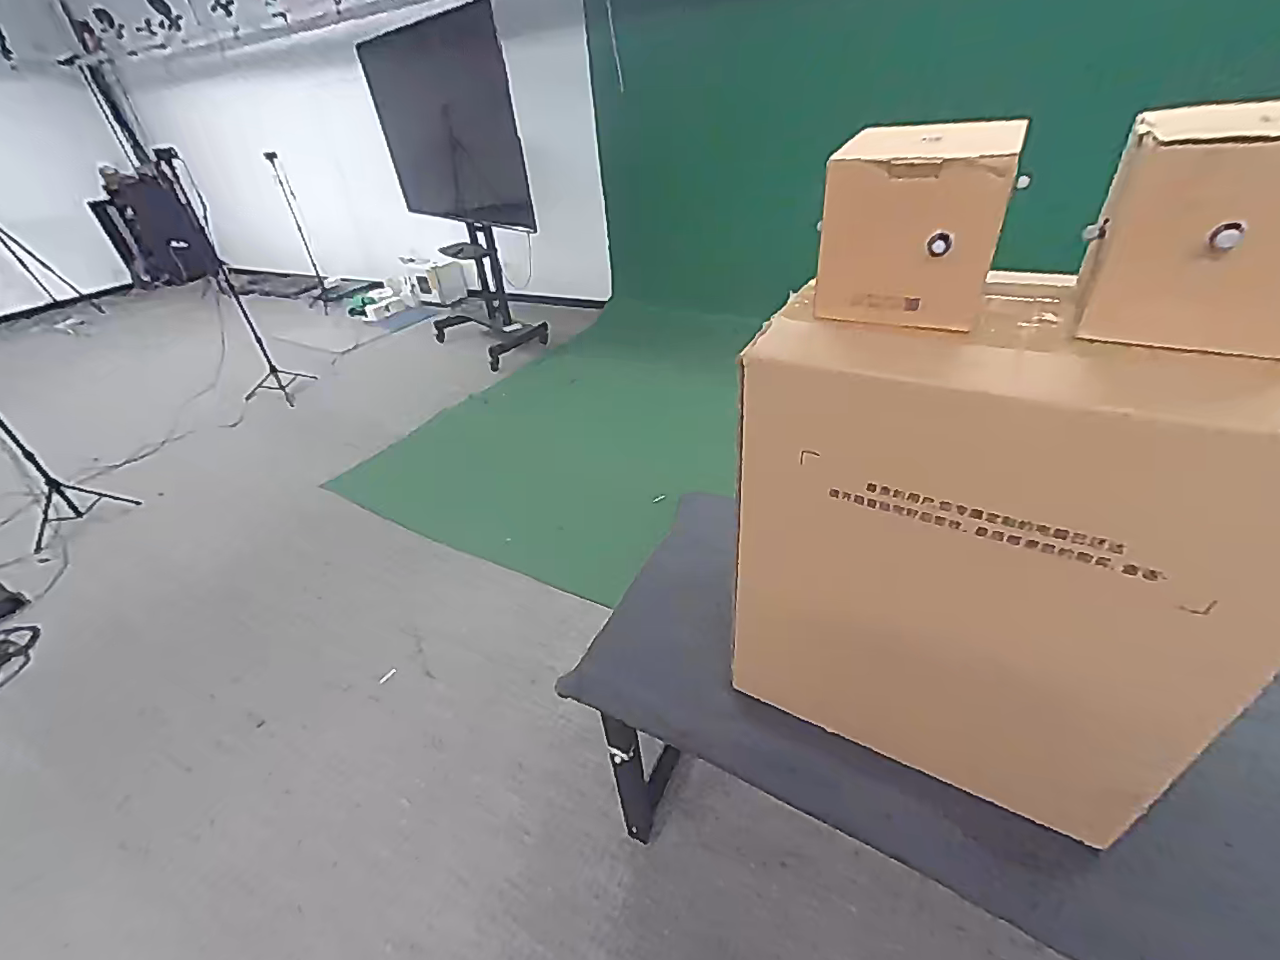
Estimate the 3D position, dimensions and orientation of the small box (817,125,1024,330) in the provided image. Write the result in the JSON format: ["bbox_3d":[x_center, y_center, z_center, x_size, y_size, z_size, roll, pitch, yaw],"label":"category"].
[{"bbox_3d":[0.307,-0.284,0.609,0.168,0.176,0.179,16,44,26],"label":"small box"}]

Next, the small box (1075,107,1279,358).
[{"bbox_3d":[0.526,-0.225,0.491,0.179,0.176,0.168,16,45,29],"label":"small box"}]
